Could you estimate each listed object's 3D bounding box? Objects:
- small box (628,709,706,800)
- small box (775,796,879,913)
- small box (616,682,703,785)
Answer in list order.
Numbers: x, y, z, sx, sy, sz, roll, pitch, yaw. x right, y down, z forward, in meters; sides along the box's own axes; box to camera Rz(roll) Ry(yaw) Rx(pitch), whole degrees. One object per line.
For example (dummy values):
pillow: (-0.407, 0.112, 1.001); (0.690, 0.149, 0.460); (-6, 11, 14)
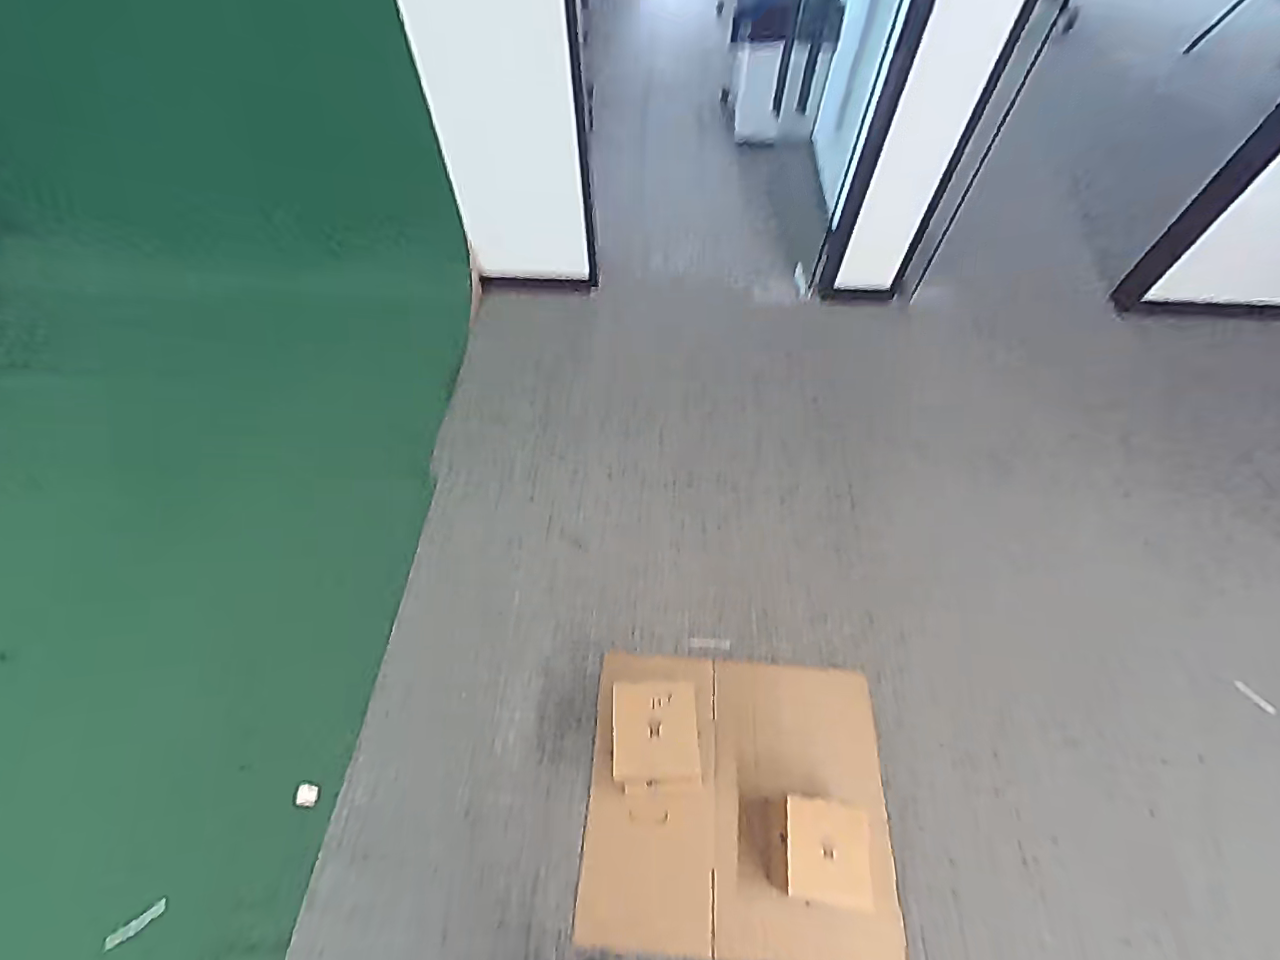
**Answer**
small box: (0.055, 0.627, 1.242); (0.168, 0.176, 0.179); (-2, 57, -1)
small box: (0.384, 0.781, 1.138); (0.168, 0.176, 0.179); (6, 57, 5)
small box: (0.036, 0.525, 1.111); (0.168, 0.176, 0.179); (-1, 57, -1)
